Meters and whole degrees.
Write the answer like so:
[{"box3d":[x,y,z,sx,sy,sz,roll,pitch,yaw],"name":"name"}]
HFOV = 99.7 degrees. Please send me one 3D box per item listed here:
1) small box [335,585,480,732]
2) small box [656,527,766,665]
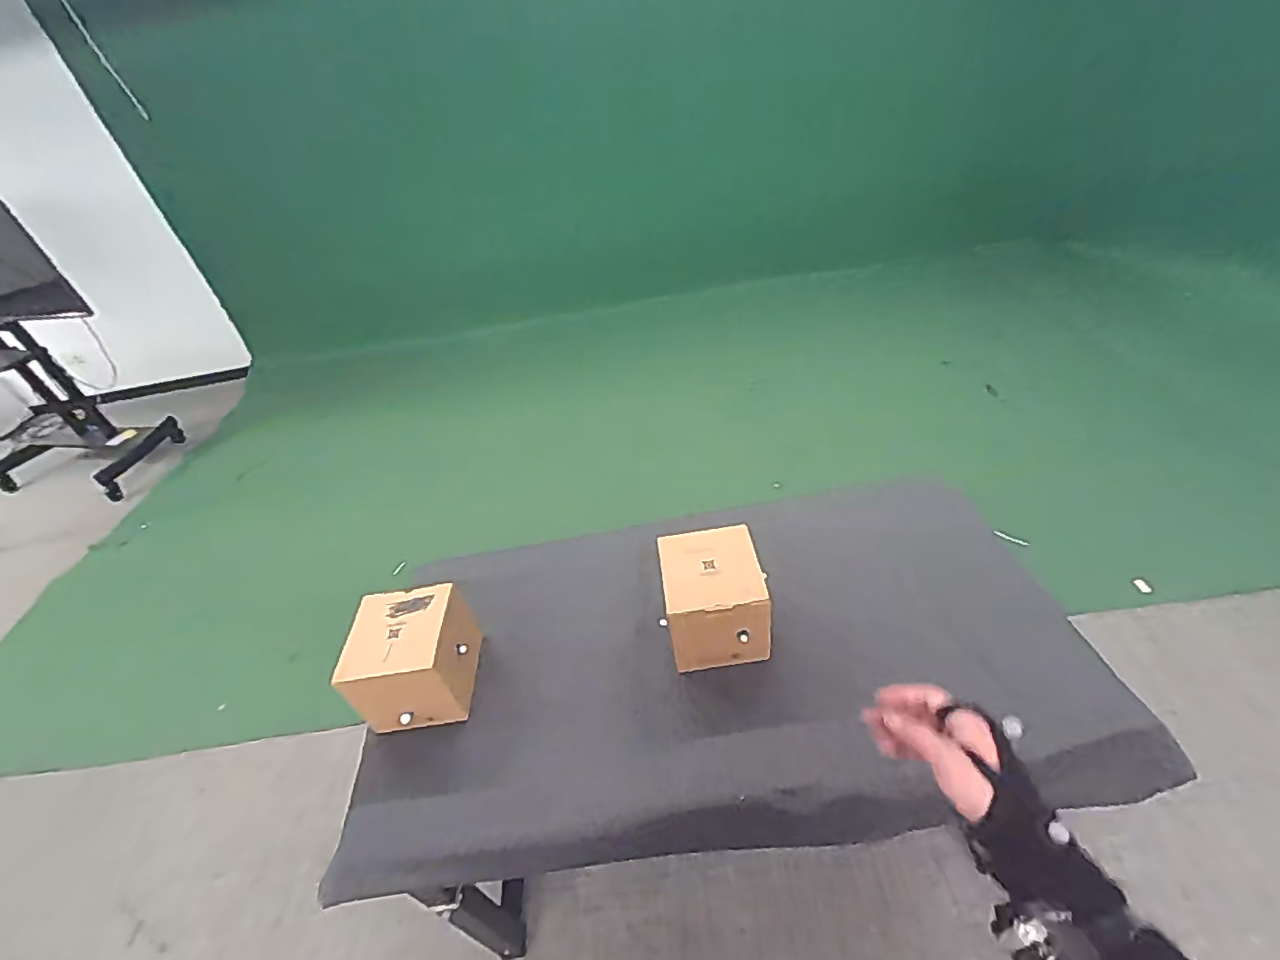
[{"box3d":[-0.395,0.316,0.960,0.168,0.176,0.179,-9,40,1],"name":"small box"},{"box3d":[0.125,0.214,0.971,0.168,0.176,0.179,-9,38,0],"name":"small box"}]
